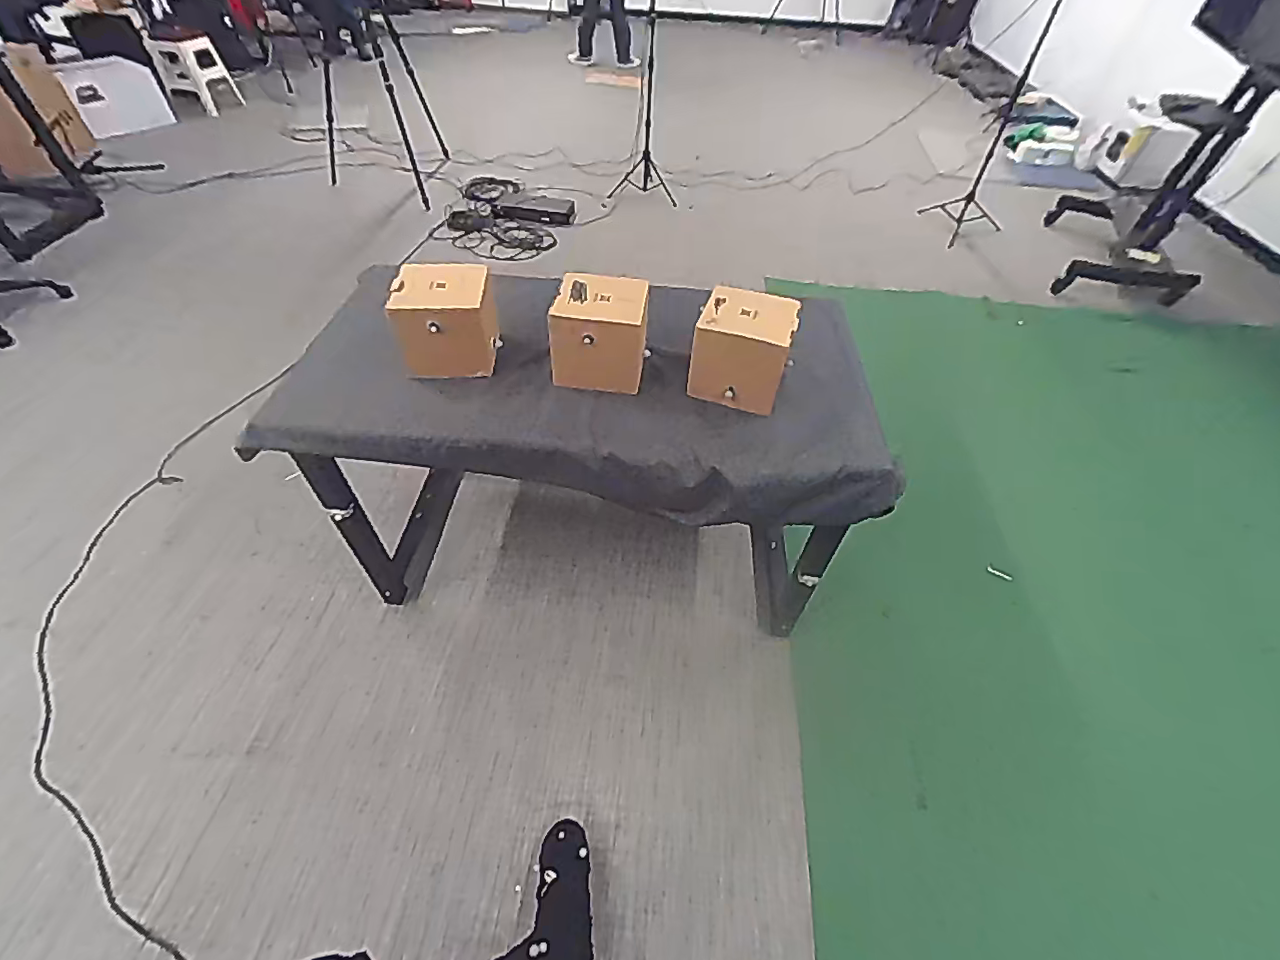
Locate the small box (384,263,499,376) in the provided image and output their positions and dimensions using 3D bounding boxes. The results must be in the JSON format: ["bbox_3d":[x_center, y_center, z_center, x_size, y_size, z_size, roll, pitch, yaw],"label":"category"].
[{"bbox_3d":[-0.398,-0.328,1.116,0.179,0.176,0.168,-1,50,-6],"label":"small box"}]

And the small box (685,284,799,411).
[{"bbox_3d":[0.202,-0.263,1.092,0.179,0.176,0.168,16,50,11],"label":"small box"}]

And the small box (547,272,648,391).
[{"bbox_3d":[-0.083,-0.301,1.108,0.179,0.176,0.168,7,49,2],"label":"small box"}]
